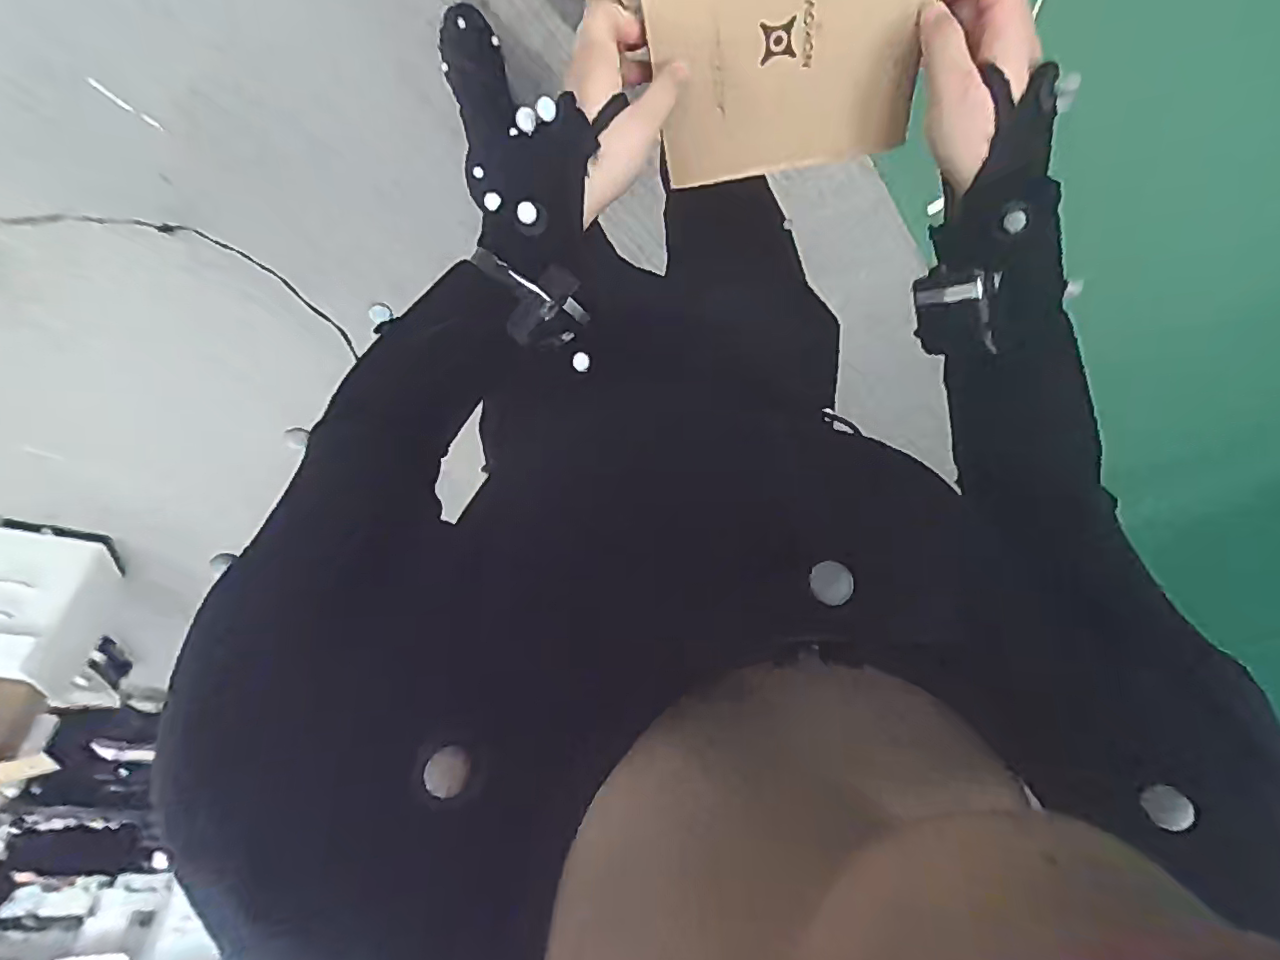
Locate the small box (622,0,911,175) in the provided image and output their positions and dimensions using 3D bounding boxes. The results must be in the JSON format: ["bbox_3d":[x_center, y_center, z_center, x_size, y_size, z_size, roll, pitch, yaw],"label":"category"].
[{"bbox_3d":[0.084,-0.357,0.384,0.179,0.176,0.168,-5,145,14],"label":"small box"}]
